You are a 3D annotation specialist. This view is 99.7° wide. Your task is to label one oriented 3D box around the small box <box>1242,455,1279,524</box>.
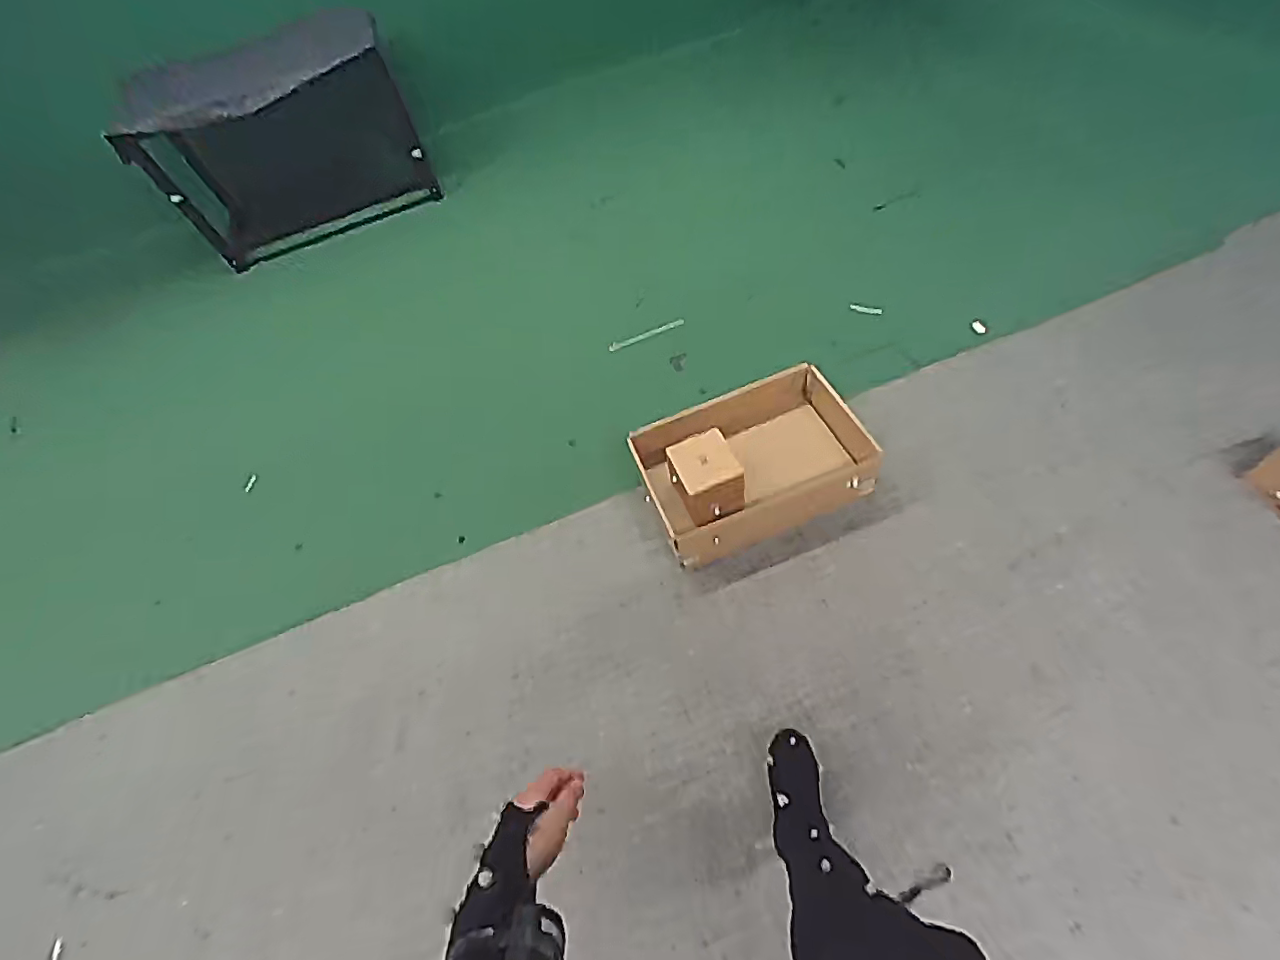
[{"bbox_3d":[1.660,0.004,1.313,0.179,0.176,0.168,-18,54,-1],"label":"small box"}]
